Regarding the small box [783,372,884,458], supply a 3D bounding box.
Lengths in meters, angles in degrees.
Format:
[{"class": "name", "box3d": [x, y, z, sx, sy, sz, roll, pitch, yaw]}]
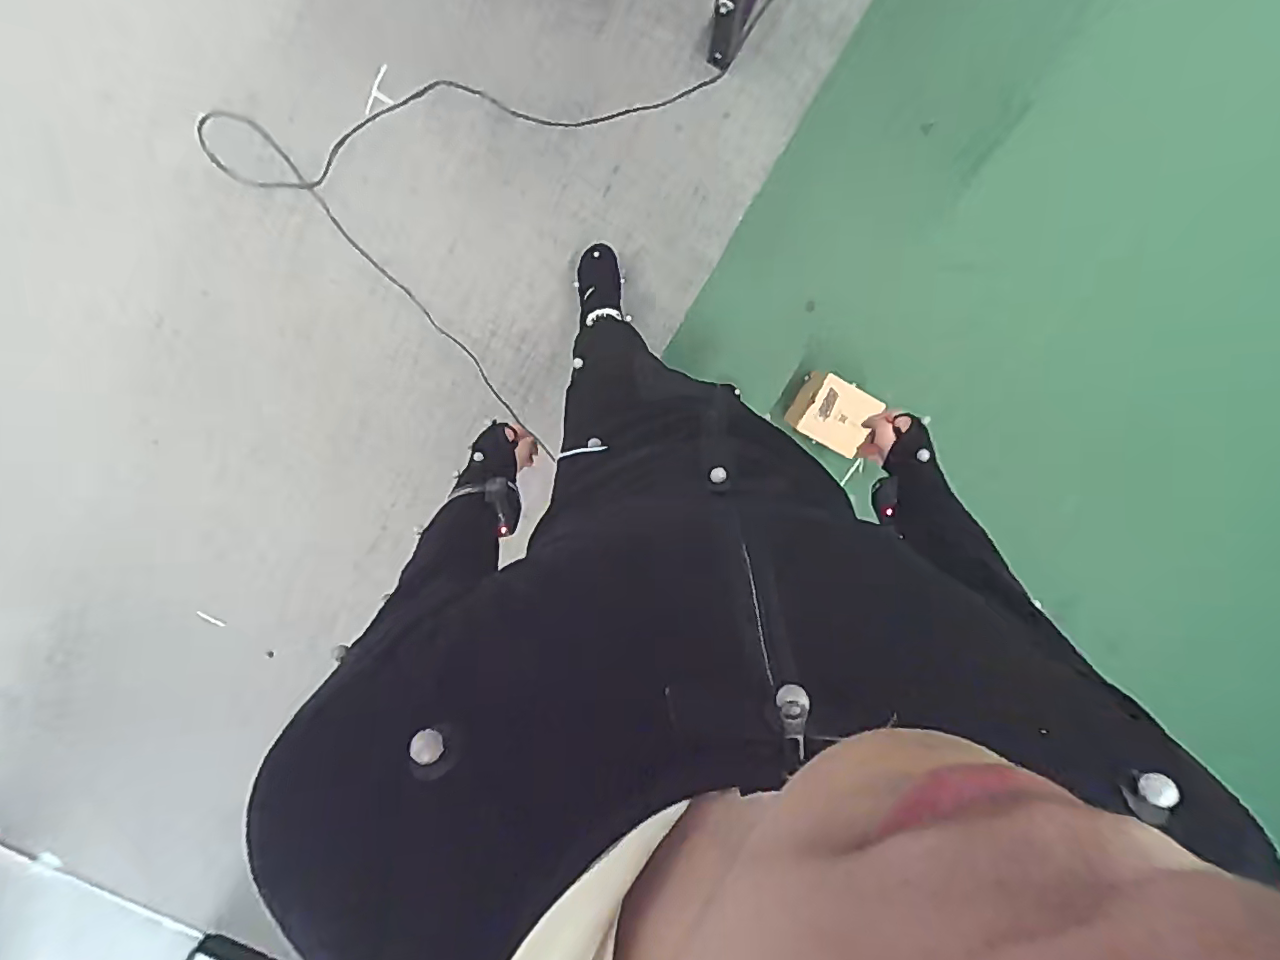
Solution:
[{"class": "small box", "box3d": [0.515, -0.183, 1.473, 0.179, 0.176, 0.168, 28, 104, -5]}]
